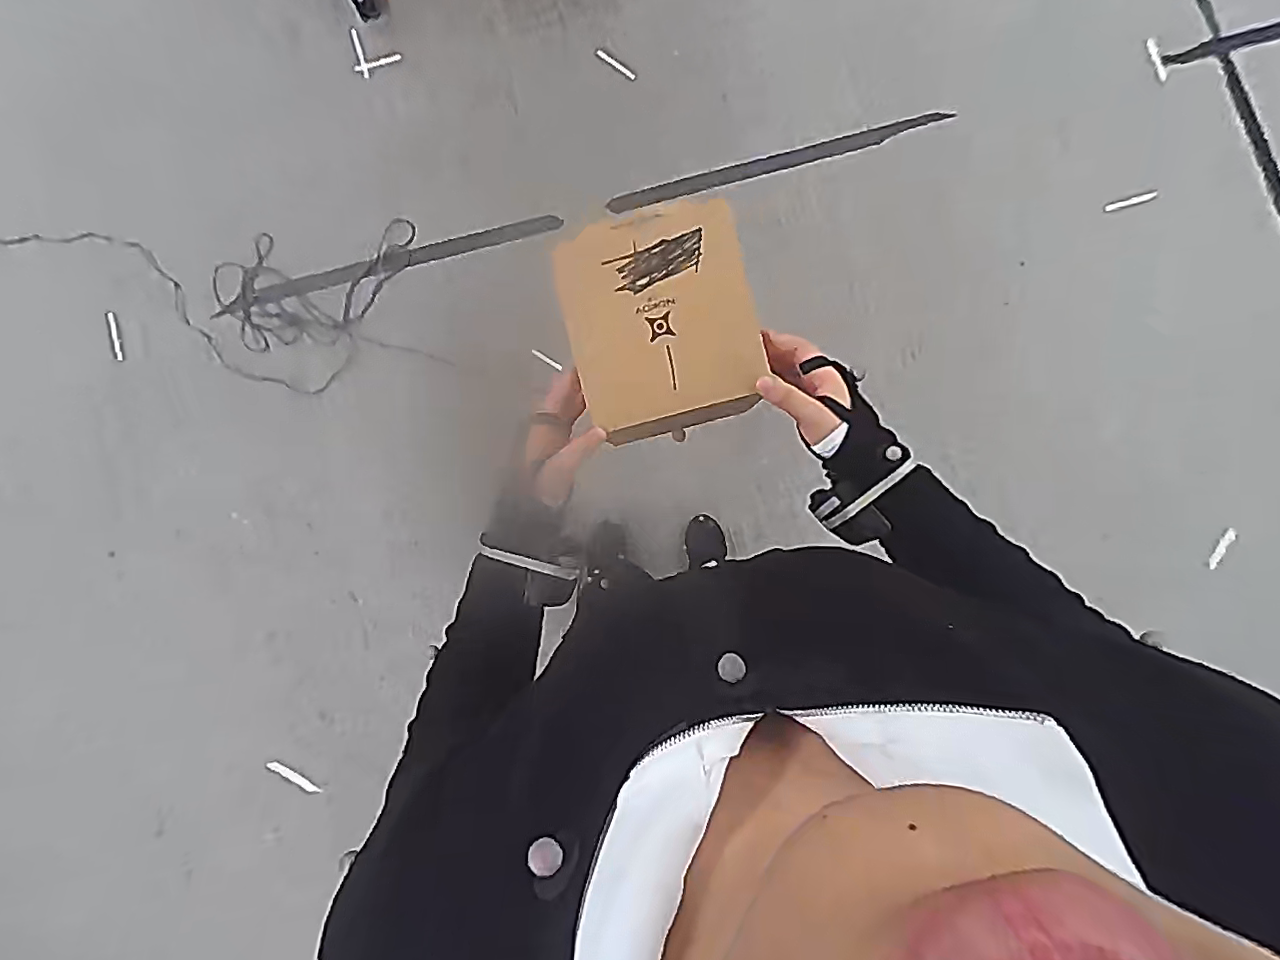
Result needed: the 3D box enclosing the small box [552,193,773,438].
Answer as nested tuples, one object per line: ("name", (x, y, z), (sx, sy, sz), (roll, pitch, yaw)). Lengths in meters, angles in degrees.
("small box", (0.022, -0.151, 0.559), (0.168, 0.176, 0.179), (-15, 90, 4))
